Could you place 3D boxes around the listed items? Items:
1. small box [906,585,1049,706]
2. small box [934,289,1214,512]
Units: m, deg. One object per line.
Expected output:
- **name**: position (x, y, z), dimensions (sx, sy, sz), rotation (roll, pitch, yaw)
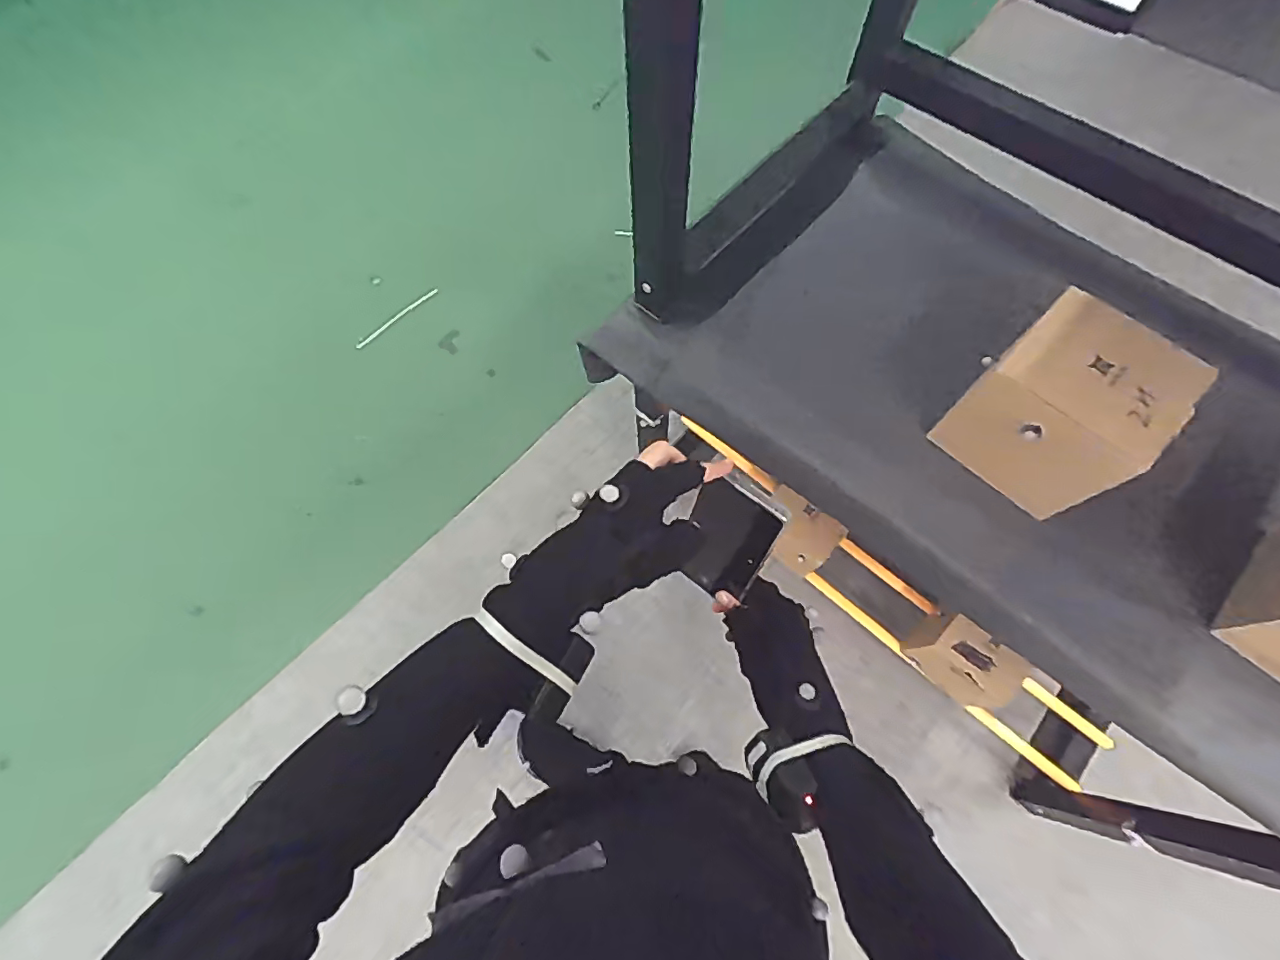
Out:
- **small box**: position (0.703, 0.357, 1.152), dimensions (0.179, 0.176, 0.168), rotation (-43, 73, -14)
- **small box**: position (0.509, -0.088, 0.665), dimensions (0.168, 0.176, 0.179), rotation (-43, 73, -15)
